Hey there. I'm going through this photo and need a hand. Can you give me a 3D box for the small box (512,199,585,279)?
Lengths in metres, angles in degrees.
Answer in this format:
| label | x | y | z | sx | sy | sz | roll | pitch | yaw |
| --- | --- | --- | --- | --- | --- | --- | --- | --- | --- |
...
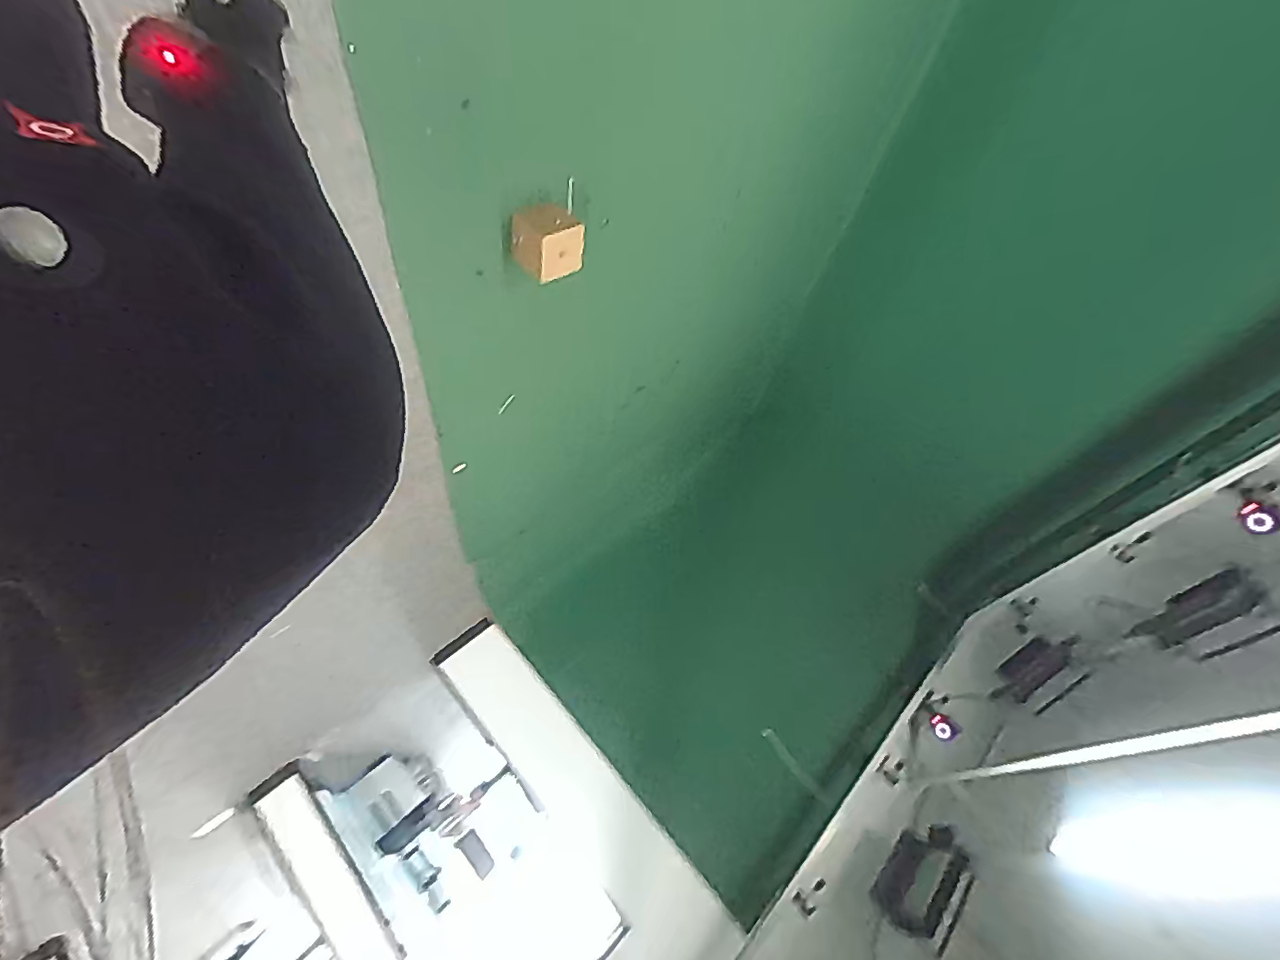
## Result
| label | x | y | z | sx | sy | sz | roll | pitch | yaw |
| --- | --- | --- | --- | --- | --- | --- | --- | --- | --- |
| small box | -0.309 | -0.812 | 1.811 | 0.179 | 0.176 | 0.168 | -34 | 156 | -29 |
